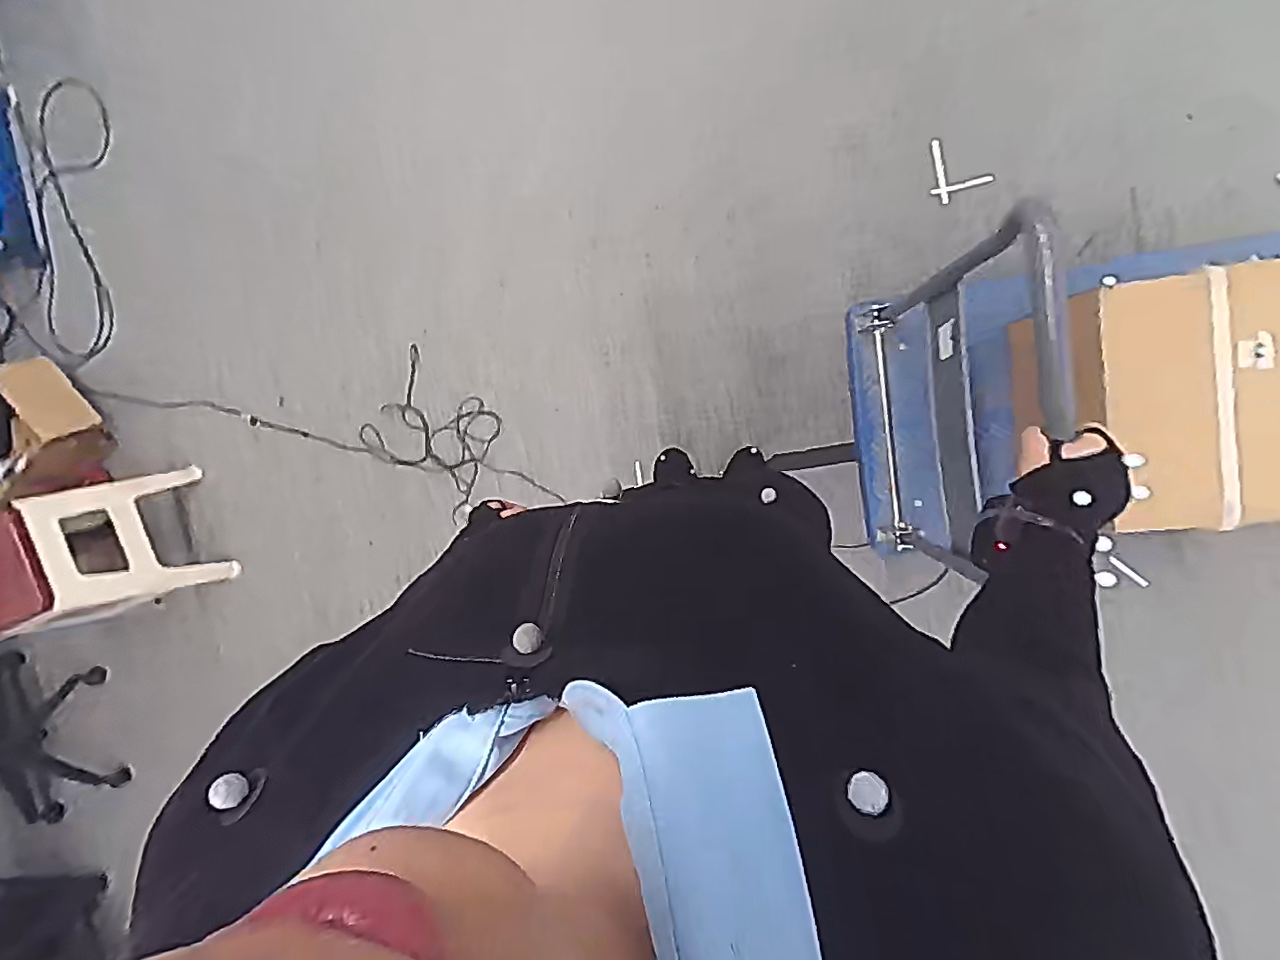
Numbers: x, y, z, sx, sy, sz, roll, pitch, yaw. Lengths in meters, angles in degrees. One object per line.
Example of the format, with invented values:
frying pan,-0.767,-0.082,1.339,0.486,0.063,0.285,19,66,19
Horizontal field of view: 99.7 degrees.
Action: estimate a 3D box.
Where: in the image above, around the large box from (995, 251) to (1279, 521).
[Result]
large box,0.923,-0.152,1.023,0.320,0.320,0.408,-7,92,10
